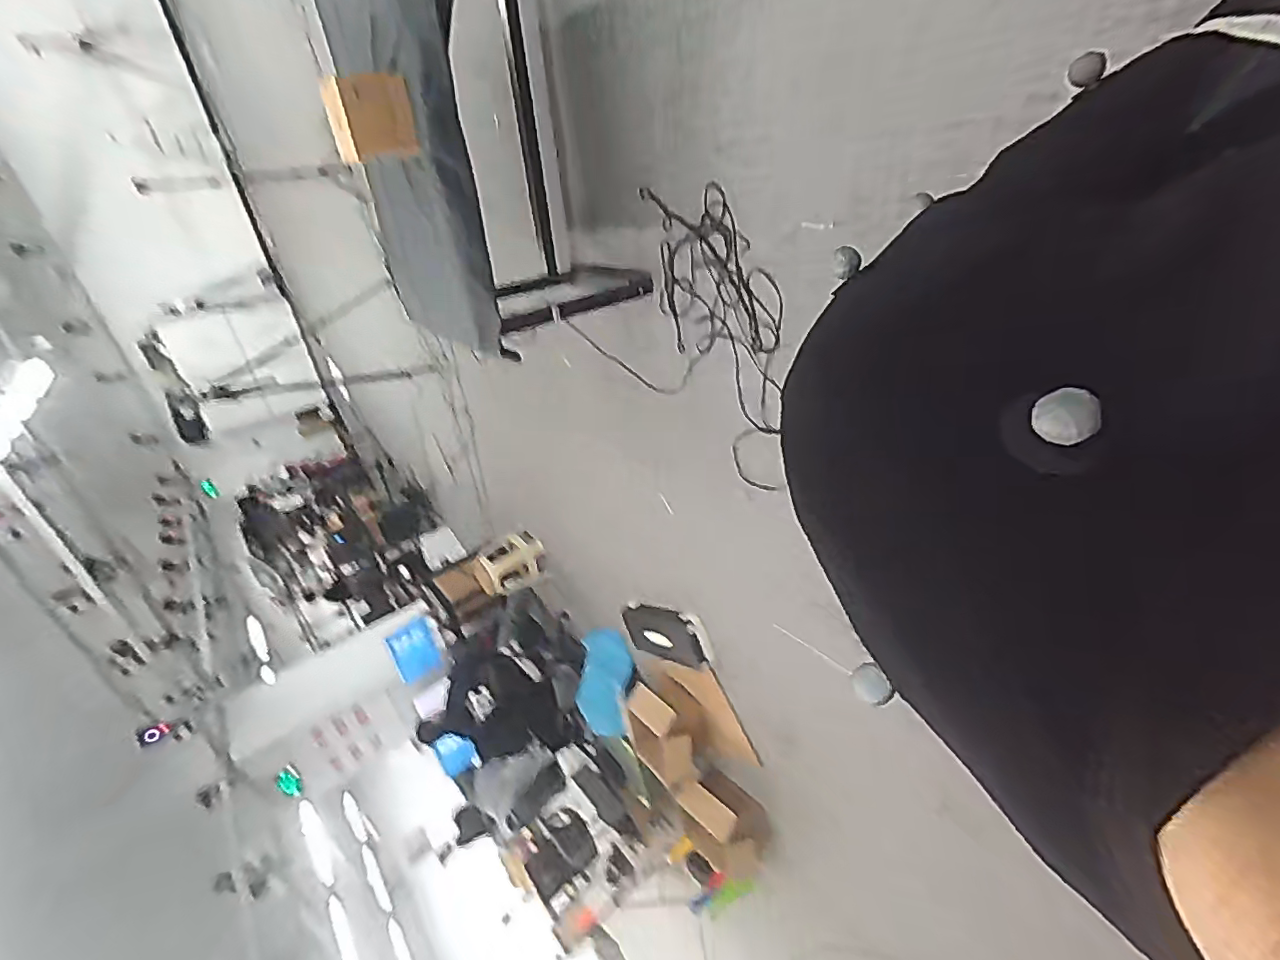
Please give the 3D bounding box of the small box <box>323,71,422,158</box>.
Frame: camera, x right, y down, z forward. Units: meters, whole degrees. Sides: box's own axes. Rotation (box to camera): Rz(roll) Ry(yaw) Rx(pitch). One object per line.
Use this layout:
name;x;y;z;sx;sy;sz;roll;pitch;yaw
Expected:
small box;-0.692;-0.951;1.411;0.168;0.176;0.179;30;135;43
